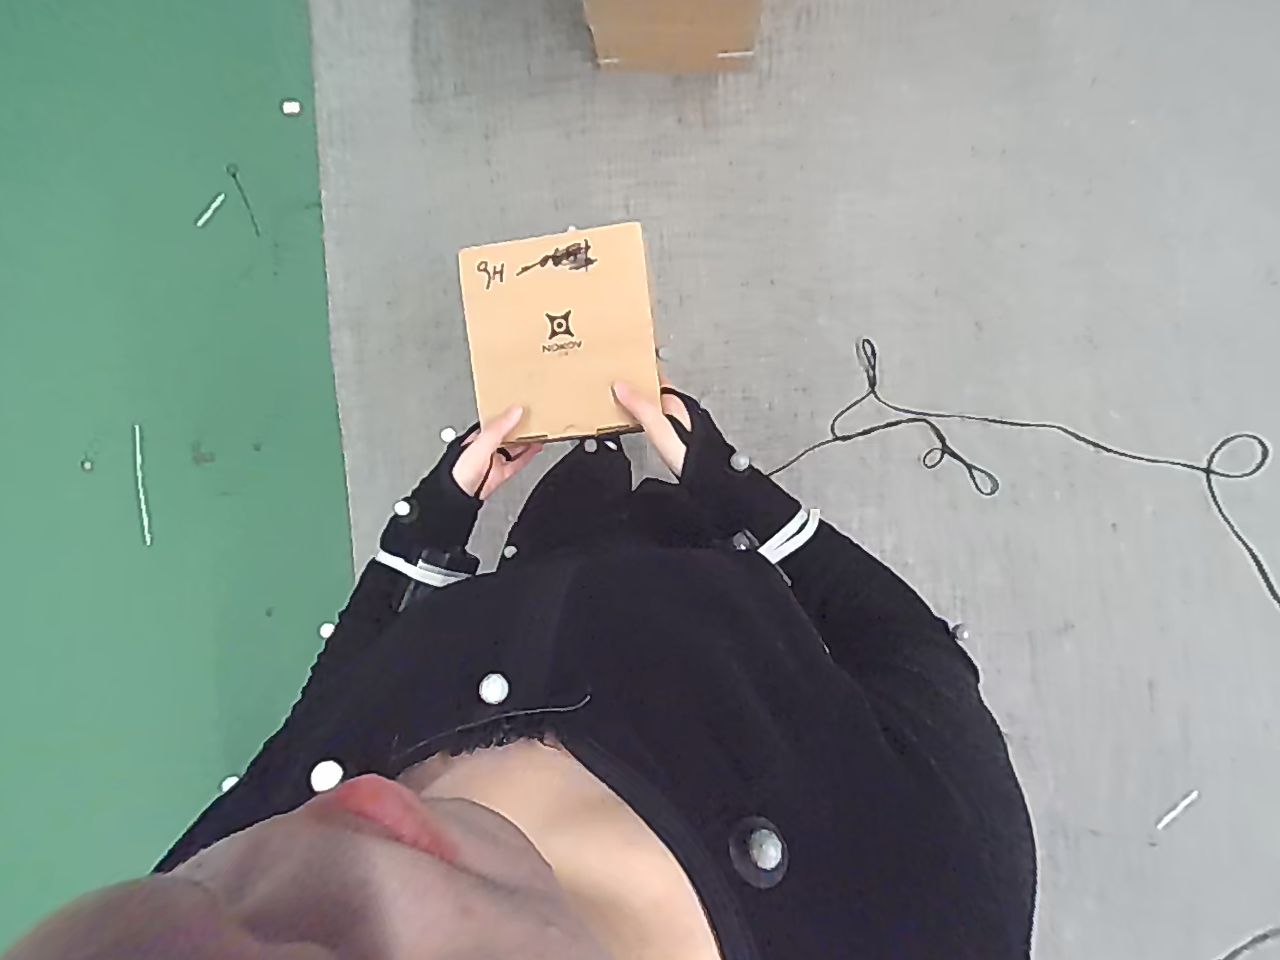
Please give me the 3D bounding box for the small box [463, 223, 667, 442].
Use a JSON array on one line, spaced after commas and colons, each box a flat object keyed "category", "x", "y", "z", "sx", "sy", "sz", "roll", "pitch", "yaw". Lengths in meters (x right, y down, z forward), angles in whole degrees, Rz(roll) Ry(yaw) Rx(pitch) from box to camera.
[{"category": "small box", "x": -0.062, "y": -0.135, "z": 0.556, "sx": 0.168, "sy": 0.176, "sz": 0.179, "roll": -6, "pitch": 94, "yaw": 5}]
